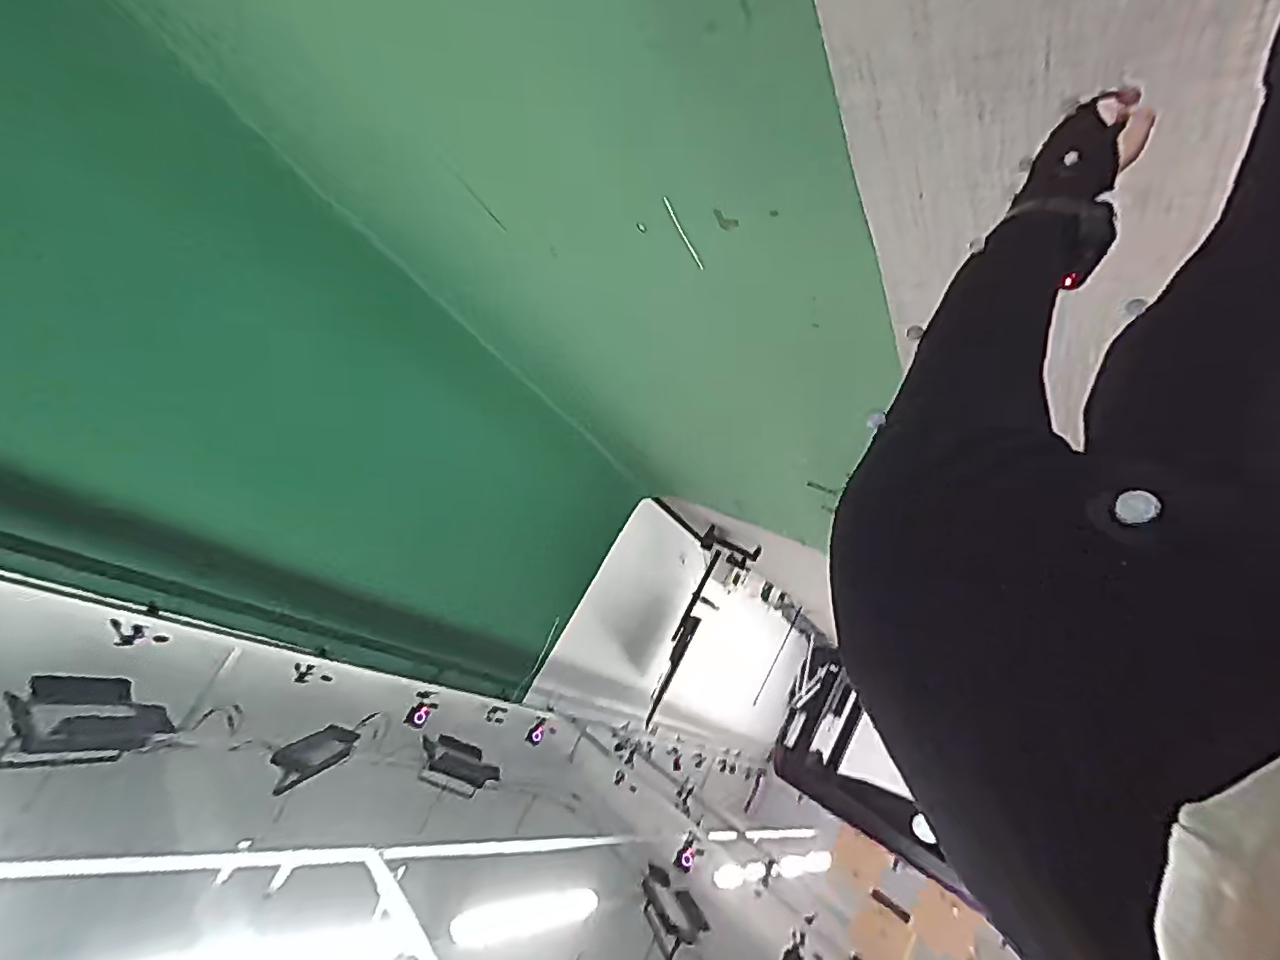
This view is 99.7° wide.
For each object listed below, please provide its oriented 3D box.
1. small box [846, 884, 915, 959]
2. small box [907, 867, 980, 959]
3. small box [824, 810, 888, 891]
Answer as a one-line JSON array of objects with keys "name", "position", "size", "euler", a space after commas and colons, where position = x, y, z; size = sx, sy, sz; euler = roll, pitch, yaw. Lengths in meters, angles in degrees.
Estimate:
[{"name": "small box", "position": [0.826, 1.523, 1.843], "size": [0.168, 0.176, 0.179], "euler": [20, 166, 38]}, {"name": "small box", "position": [1.002, 1.415, 1.780], "size": [0.168, 0.176, 0.179], "euler": [20, 165, 39]}, {"name": "small box", "position": [0.790, 1.338, 1.969], "size": [0.168, 0.176, 0.179], "euler": [21, 167, 33]}]
